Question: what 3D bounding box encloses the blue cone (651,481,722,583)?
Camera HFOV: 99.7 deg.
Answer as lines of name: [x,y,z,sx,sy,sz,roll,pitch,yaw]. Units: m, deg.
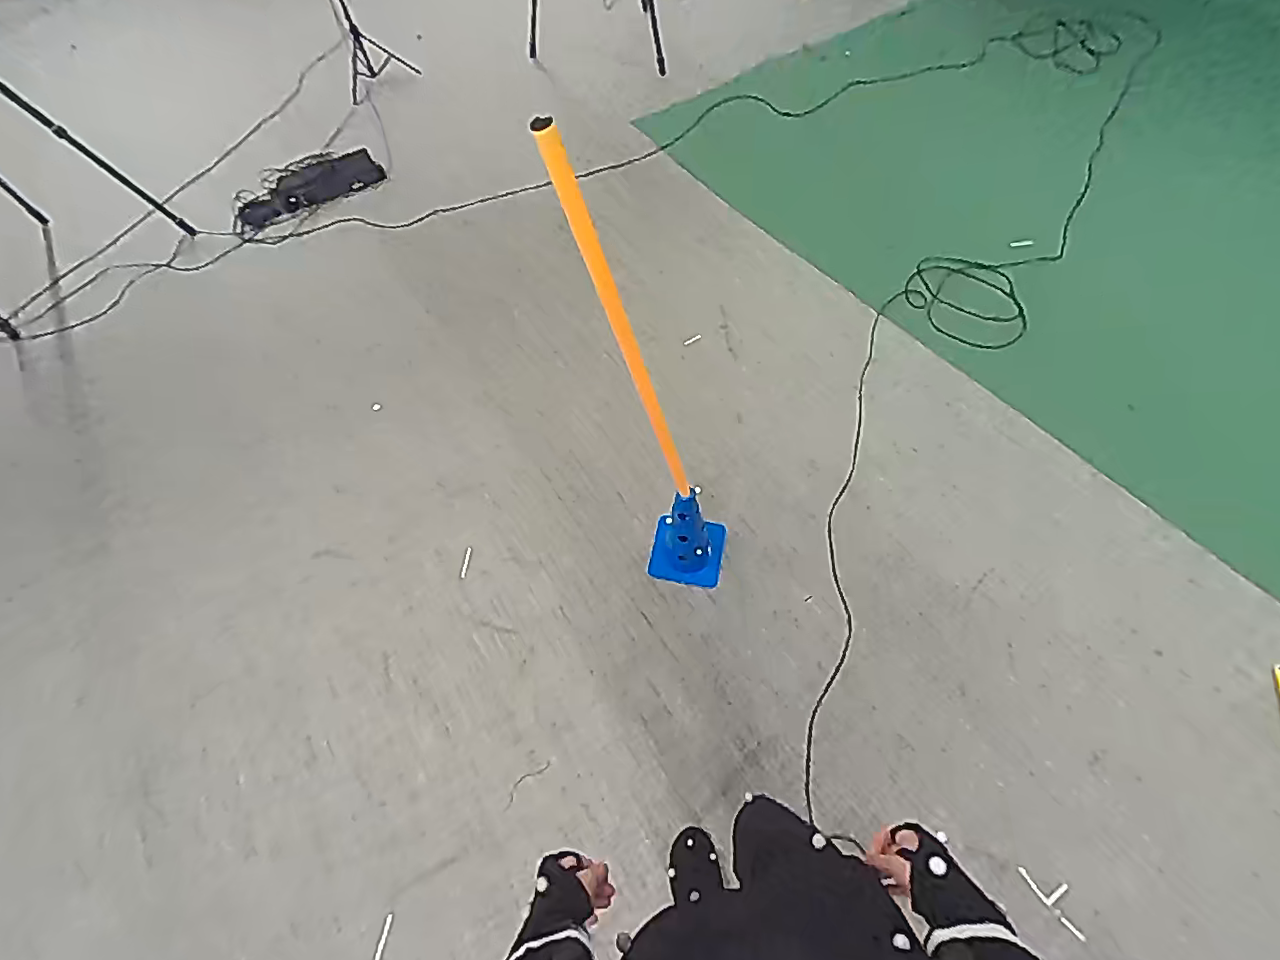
blue cone: [0.114,0.115,1.378,0.193,0.380,0.192,7,62,10]
